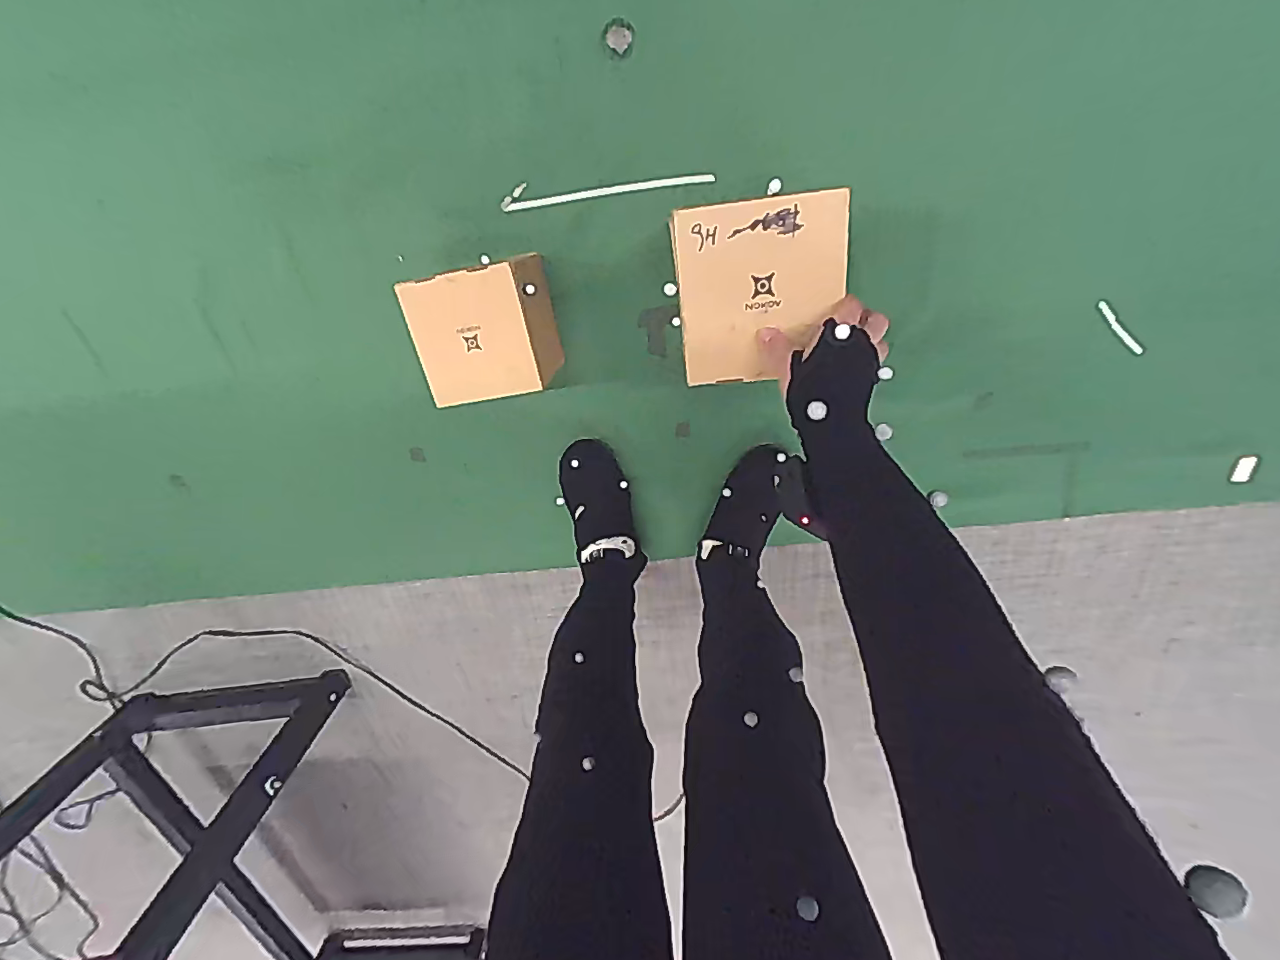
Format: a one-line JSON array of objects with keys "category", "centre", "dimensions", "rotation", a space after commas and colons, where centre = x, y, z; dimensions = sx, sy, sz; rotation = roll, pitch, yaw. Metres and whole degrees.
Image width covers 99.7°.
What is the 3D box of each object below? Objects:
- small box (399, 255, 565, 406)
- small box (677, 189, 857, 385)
[{"category": "small box", "centre": [-0.221, -0.228, 0.812], "dimensions": [0.168, 0.176, 0.179], "rotation": [-8, 114, 8]}, {"category": "small box", "centre": [0.130, -0.221, 0.608], "dimensions": [0.168, 0.176, 0.179], "rotation": [-5, 117, 5]}]
